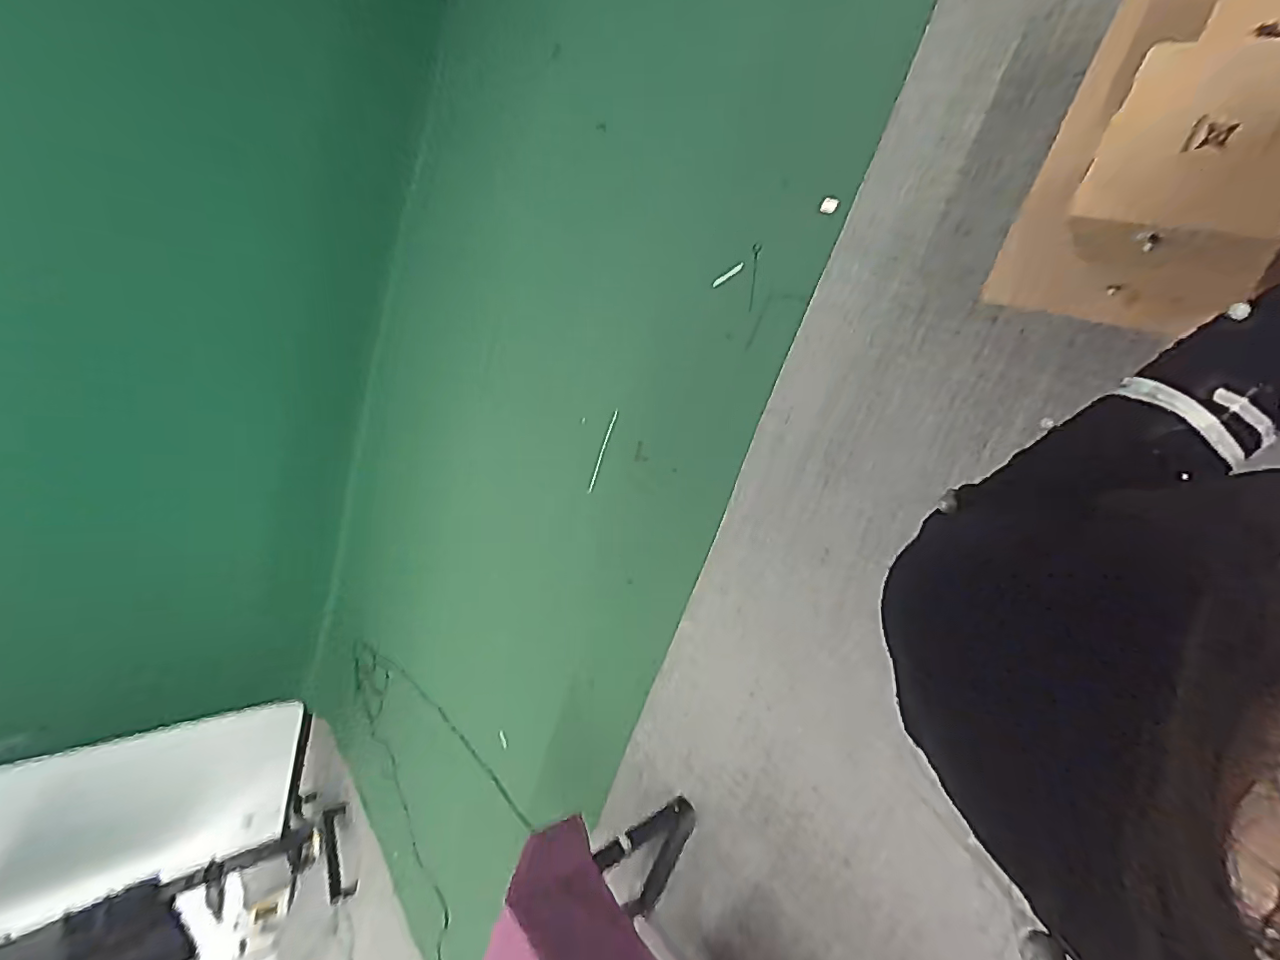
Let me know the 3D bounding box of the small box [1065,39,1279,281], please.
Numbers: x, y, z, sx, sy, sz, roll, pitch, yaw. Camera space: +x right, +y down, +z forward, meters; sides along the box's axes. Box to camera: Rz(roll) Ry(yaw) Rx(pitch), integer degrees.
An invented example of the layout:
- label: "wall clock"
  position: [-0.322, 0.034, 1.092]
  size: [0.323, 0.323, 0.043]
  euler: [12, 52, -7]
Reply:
- label: "small box"
  position: [0.606, -0.329, 0.577]
  size: [0.179, 0.176, 0.168]
  euler: [35, 114, 39]
